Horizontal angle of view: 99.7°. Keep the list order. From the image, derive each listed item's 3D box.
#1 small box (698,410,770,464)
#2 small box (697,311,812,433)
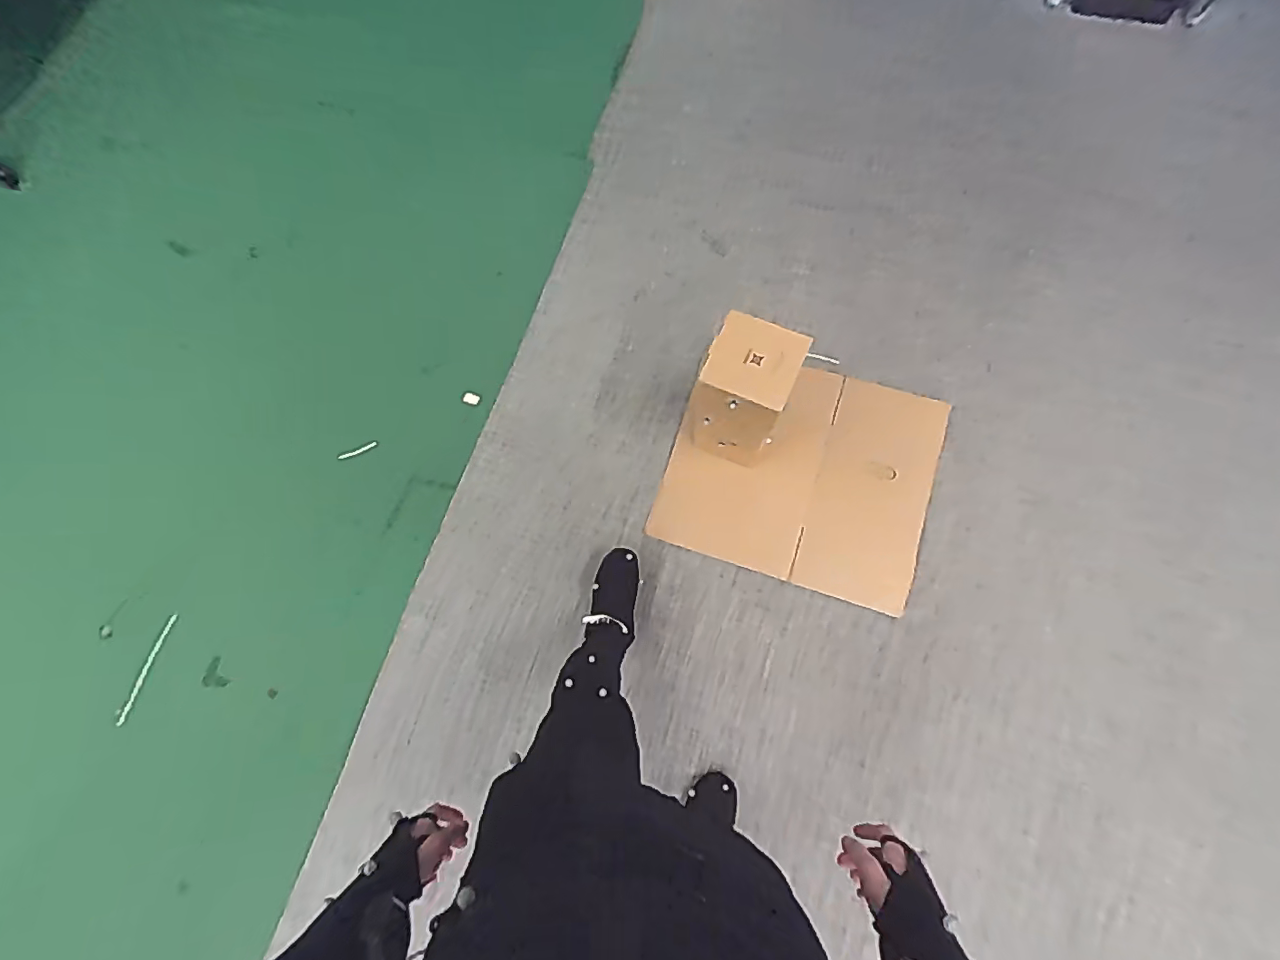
[{"bbox_3d":[0.262,-0.157,1.444,0.179,0.176,0.168,22,80,9],"label":"small box"},{"bbox_3d":[0.229,-0.215,1.123,0.179,0.176,0.168,24,81,10],"label":"small box"}]
